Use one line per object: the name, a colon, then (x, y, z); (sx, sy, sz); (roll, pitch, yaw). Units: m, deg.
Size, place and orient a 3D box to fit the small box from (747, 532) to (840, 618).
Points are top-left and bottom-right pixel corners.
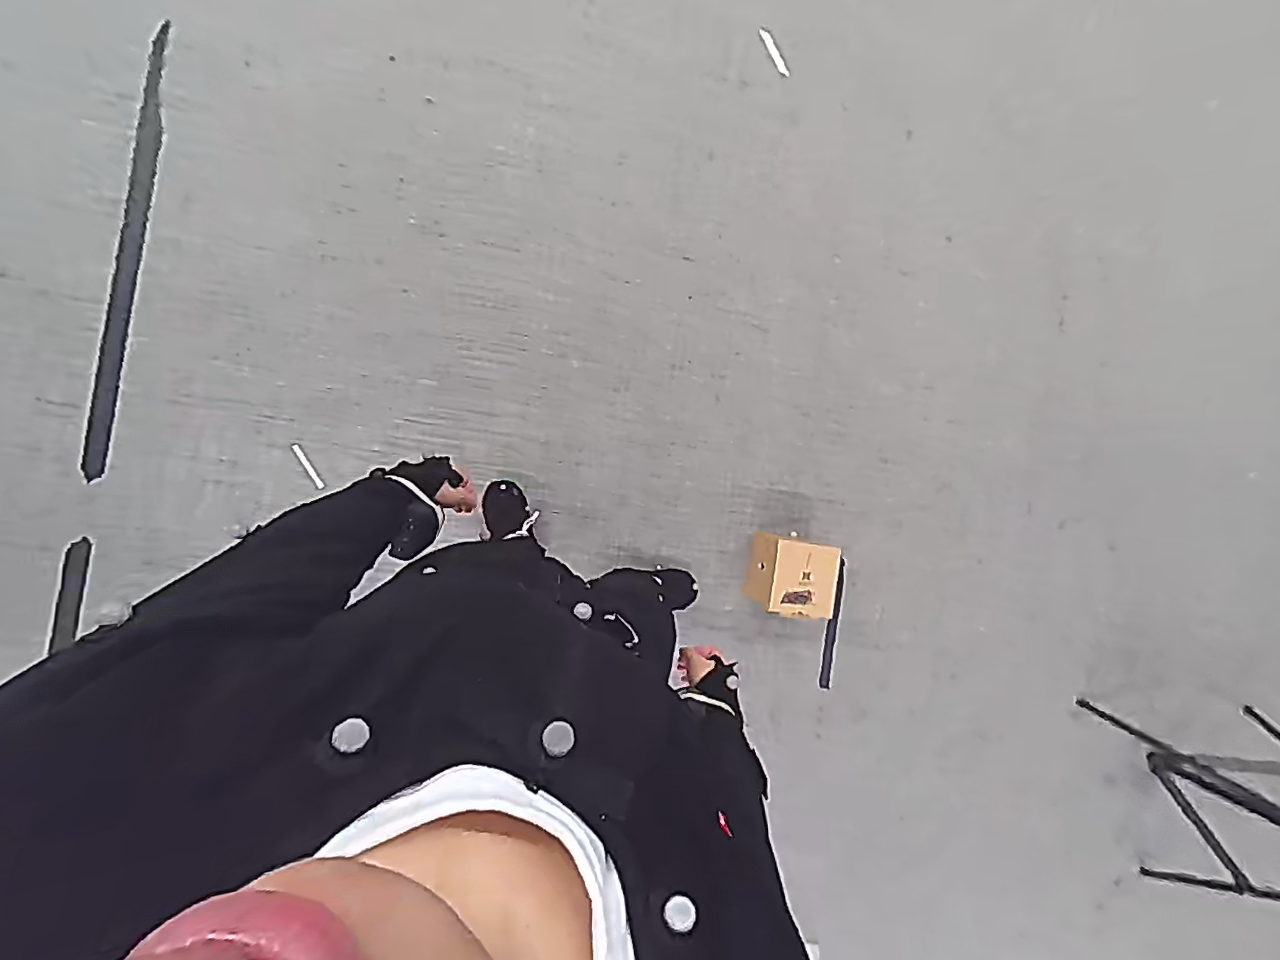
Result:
small box: (0.386, 0.238, 1.388); (0.168, 0.176, 0.179); (10, 89, -8)
